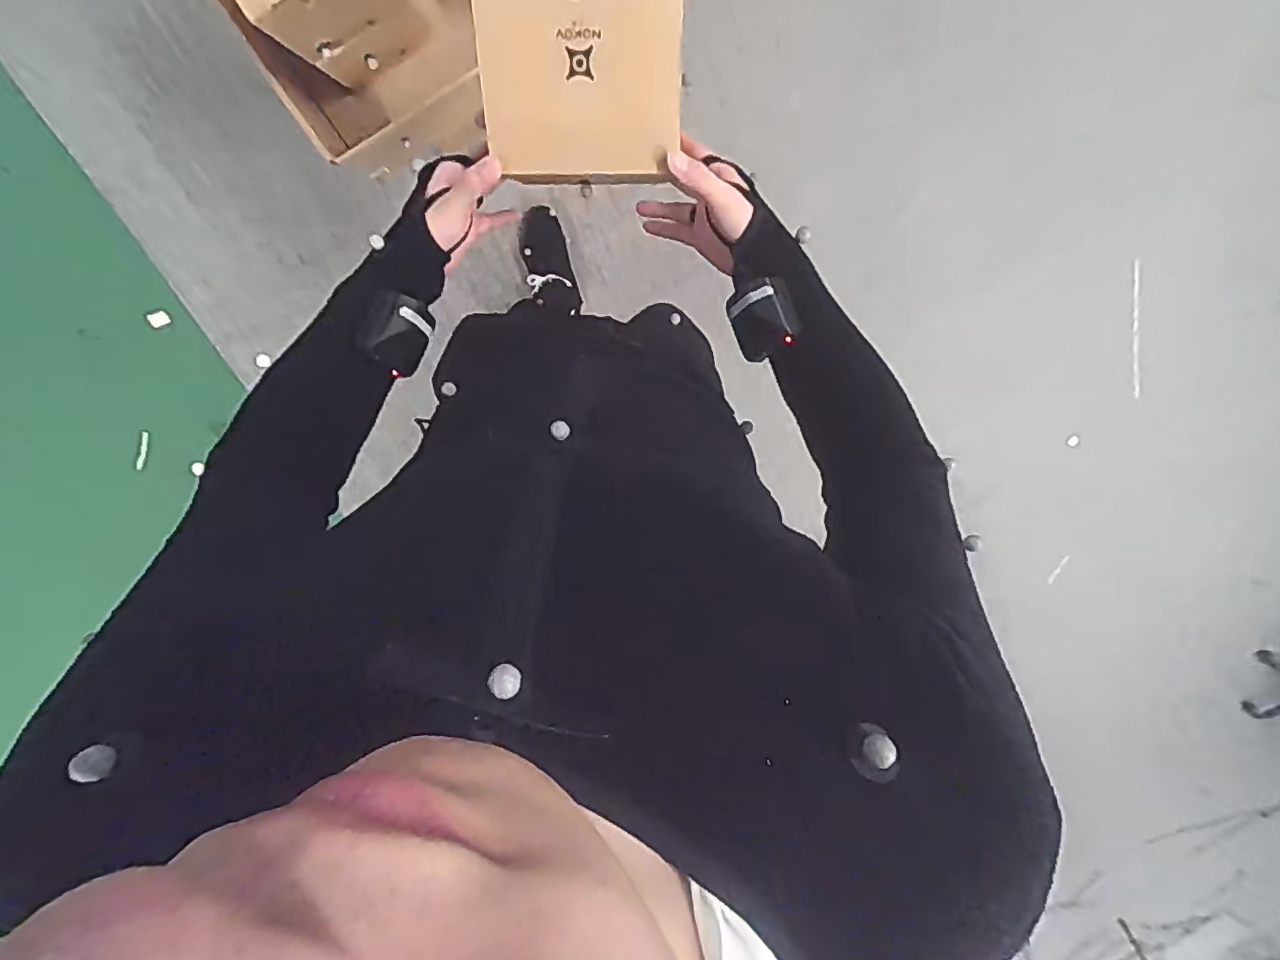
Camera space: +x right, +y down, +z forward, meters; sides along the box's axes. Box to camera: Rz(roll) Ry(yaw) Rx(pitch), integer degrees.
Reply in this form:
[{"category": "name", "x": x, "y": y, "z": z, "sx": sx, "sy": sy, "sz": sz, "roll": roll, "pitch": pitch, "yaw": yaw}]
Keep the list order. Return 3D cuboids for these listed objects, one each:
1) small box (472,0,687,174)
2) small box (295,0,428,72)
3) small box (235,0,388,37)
[{"category": "small box", "x": -0.048, "y": -0.380, "z": 0.489, "sx": 0.168, "sy": 0.176, "sz": 0.179, "roll": 0, "pitch": 116, "yaw": -3}, {"category": "small box", "x": -0.425, "y": -0.708, "z": 0.751, "sx": 0.168, "sy": 0.176, "sz": 0.179, "roll": -29, "pitch": 115, "yaw": 5}, {"category": "small box", "x": -0.399, "y": -0.640, "z": 0.604, "sx": 0.168, "sy": 0.176, "sz": 0.179, "roll": -26, "pitch": 115, "yaw": 3}]
